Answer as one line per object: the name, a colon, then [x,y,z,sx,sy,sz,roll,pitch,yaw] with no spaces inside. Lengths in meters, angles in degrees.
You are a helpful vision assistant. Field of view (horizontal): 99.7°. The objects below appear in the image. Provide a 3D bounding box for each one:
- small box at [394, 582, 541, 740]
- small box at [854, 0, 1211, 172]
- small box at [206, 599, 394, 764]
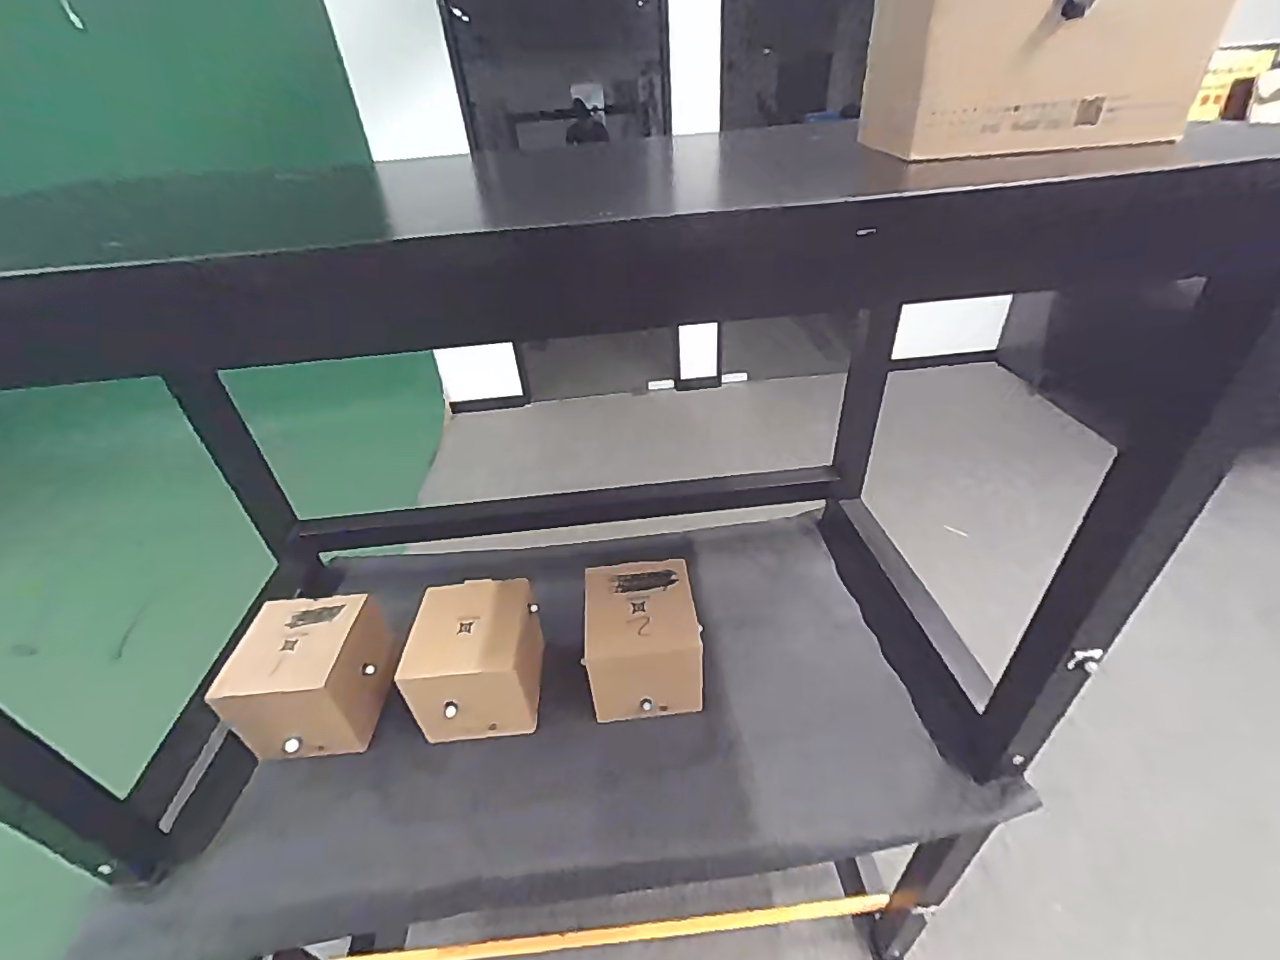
small box: [-0.256,0.289,0.853,0.168,0.176,0.179,-5,34,-1]
small box: [0.264,-0.324,0.387,0.168,0.176,0.179,1,35,8]
small box: [-0.508,0.312,0.845,0.168,0.176,0.179,-5,35,-1]
